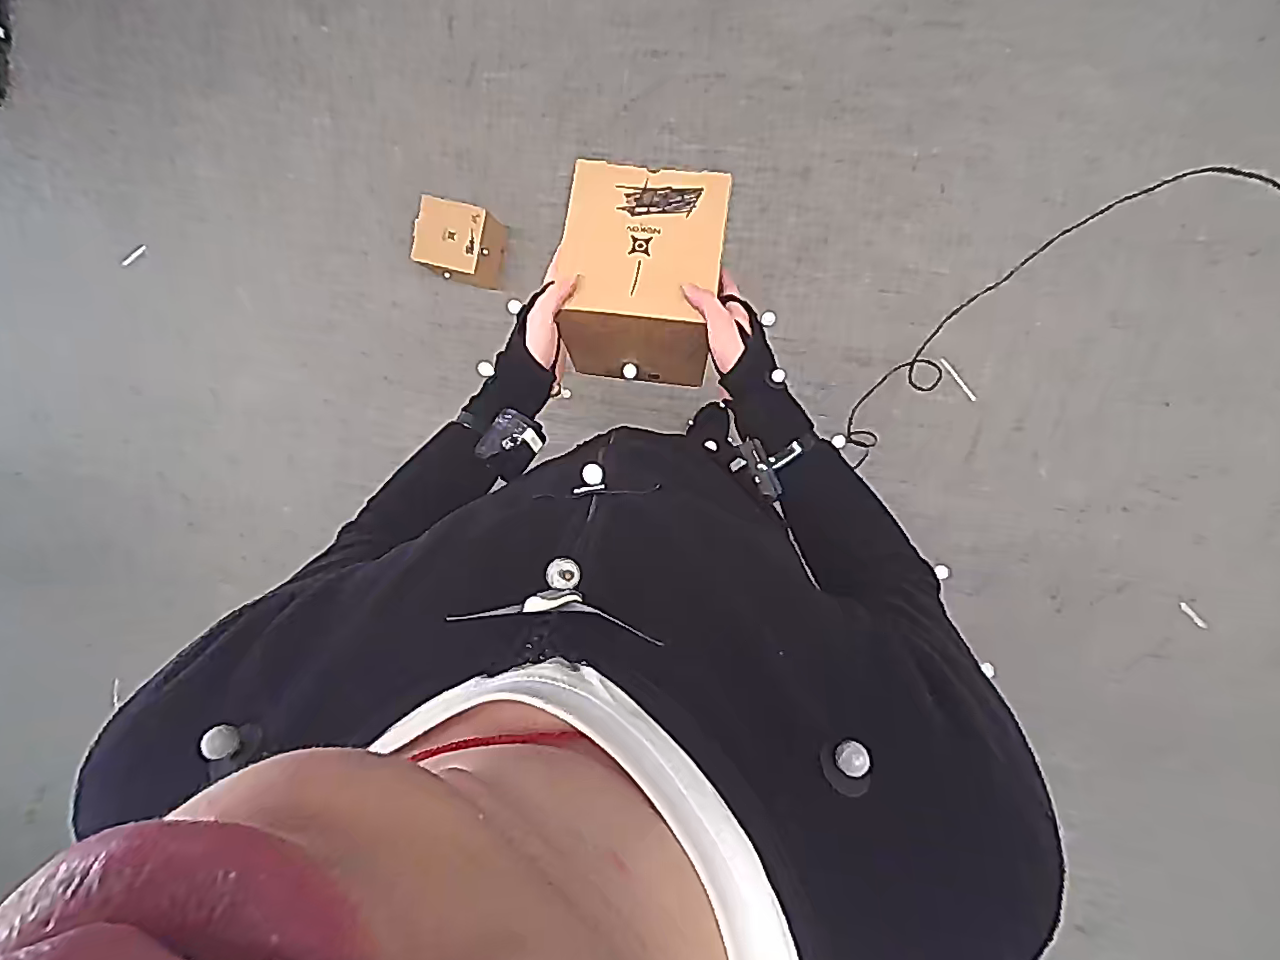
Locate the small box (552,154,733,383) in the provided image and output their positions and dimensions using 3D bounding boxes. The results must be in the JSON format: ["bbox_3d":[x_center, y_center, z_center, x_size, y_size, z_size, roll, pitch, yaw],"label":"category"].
[{"bbox_3d":[0.007,-0.233,0.626,0.168,0.176,0.179,7,78,5],"label":"small box"}]

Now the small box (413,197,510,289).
[{"bbox_3d":[-0.475,-0.629,1.455,0.179,0.176,0.168,15,96,5],"label":"small box"}]
